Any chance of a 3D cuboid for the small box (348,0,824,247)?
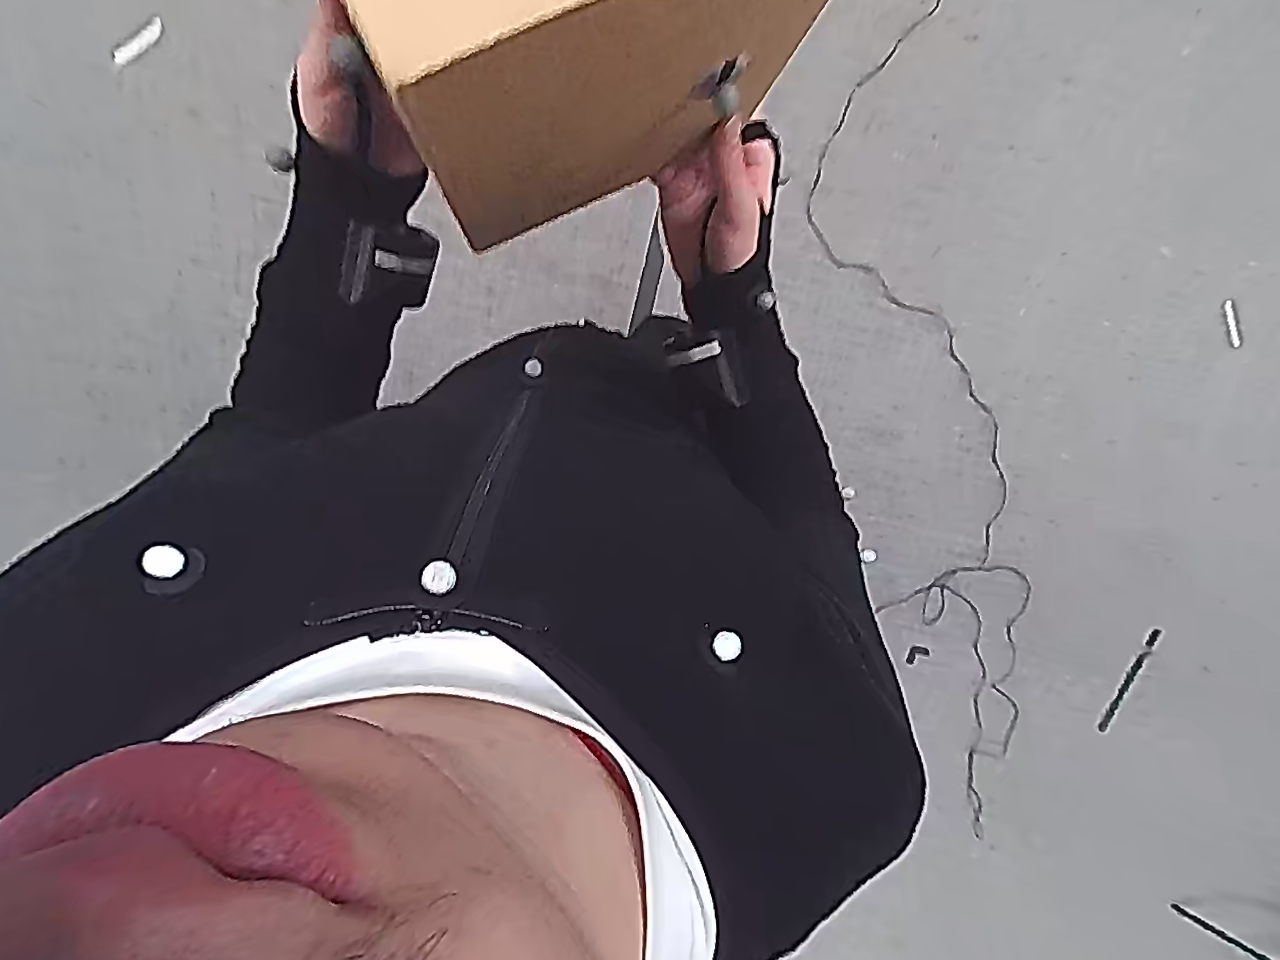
[{"bbox_3d":[-0.040,-0.233,0.237,0.179,0.176,0.168,-26,99,-4],"label":"small box"}]
